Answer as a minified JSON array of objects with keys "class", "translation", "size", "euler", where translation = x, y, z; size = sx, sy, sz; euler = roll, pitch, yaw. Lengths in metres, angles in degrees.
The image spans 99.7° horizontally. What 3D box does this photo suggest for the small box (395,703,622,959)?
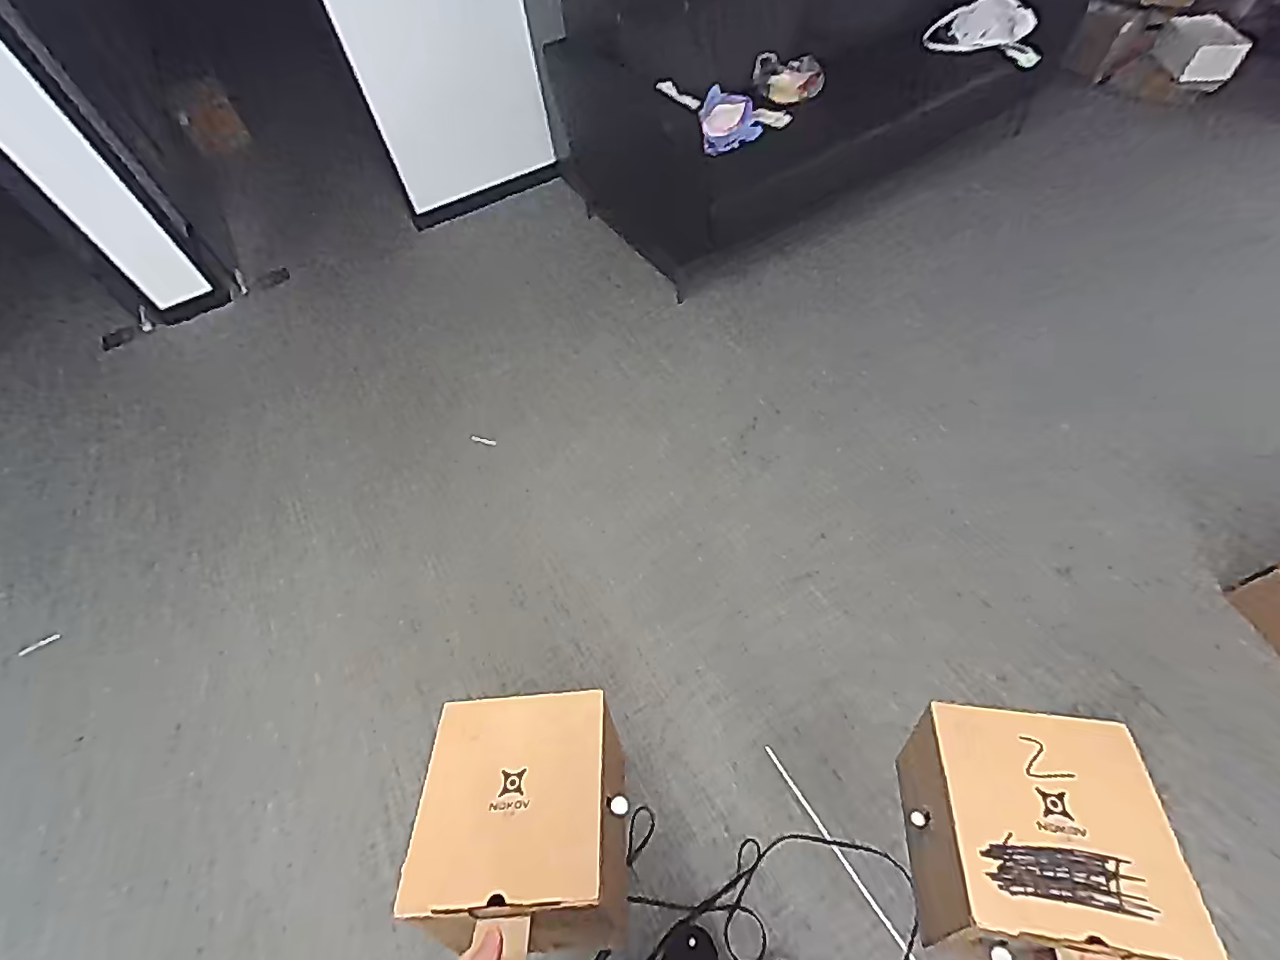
[{"class":"small box","translation":[-0.110,0.351,0.540],"size":[0.168,0.176,0.179],"euler":[-6,40,2]}]
